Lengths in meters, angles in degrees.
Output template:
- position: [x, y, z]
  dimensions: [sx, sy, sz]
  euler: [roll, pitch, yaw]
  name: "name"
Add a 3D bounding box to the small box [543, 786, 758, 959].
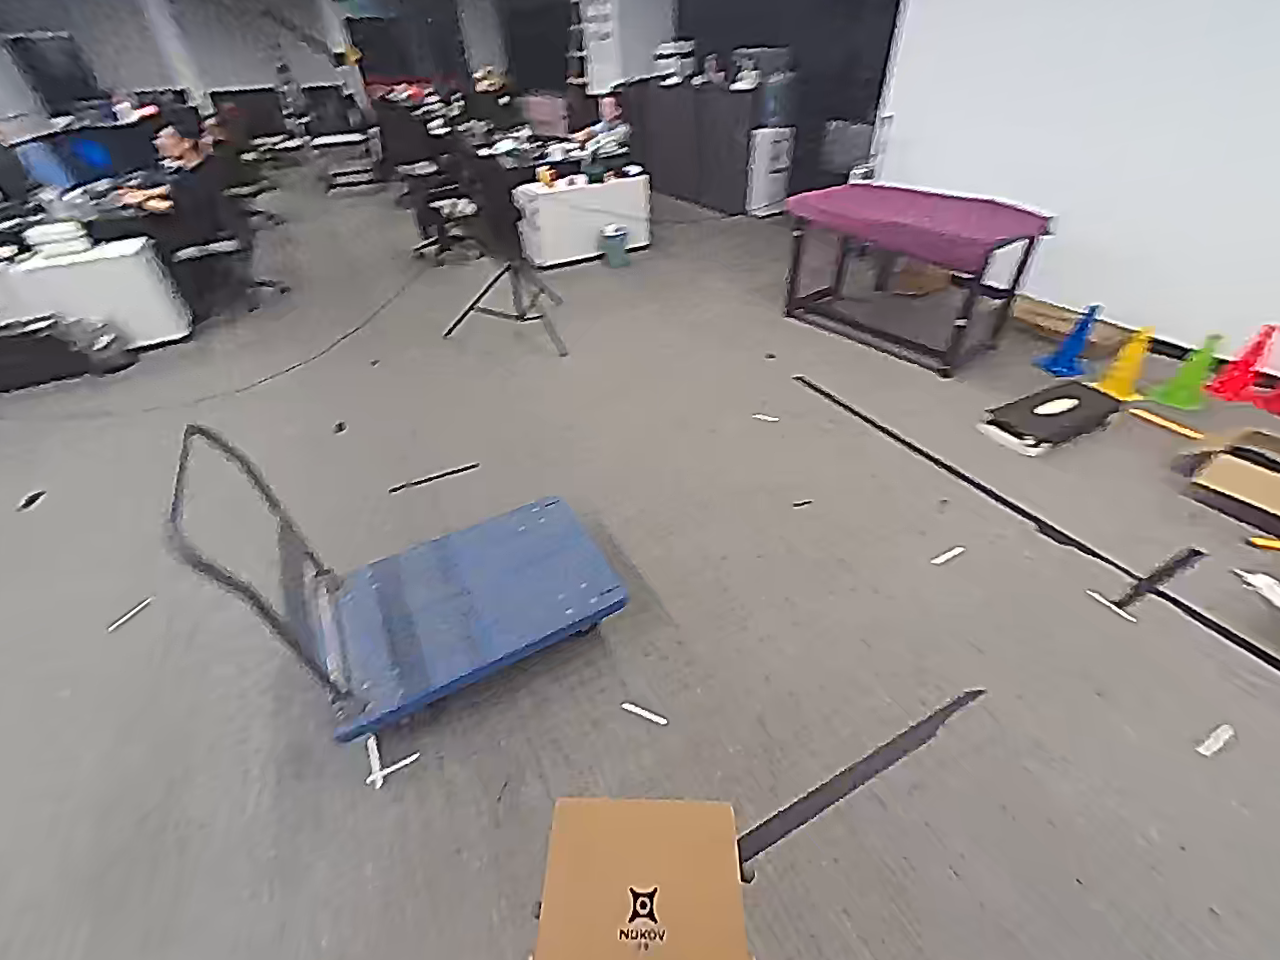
- position: [0.009, 0.401, 0.484]
  dimensions: [0.168, 0.176, 0.179]
  euler: [-1, 41, 2]
  name: "small box"
